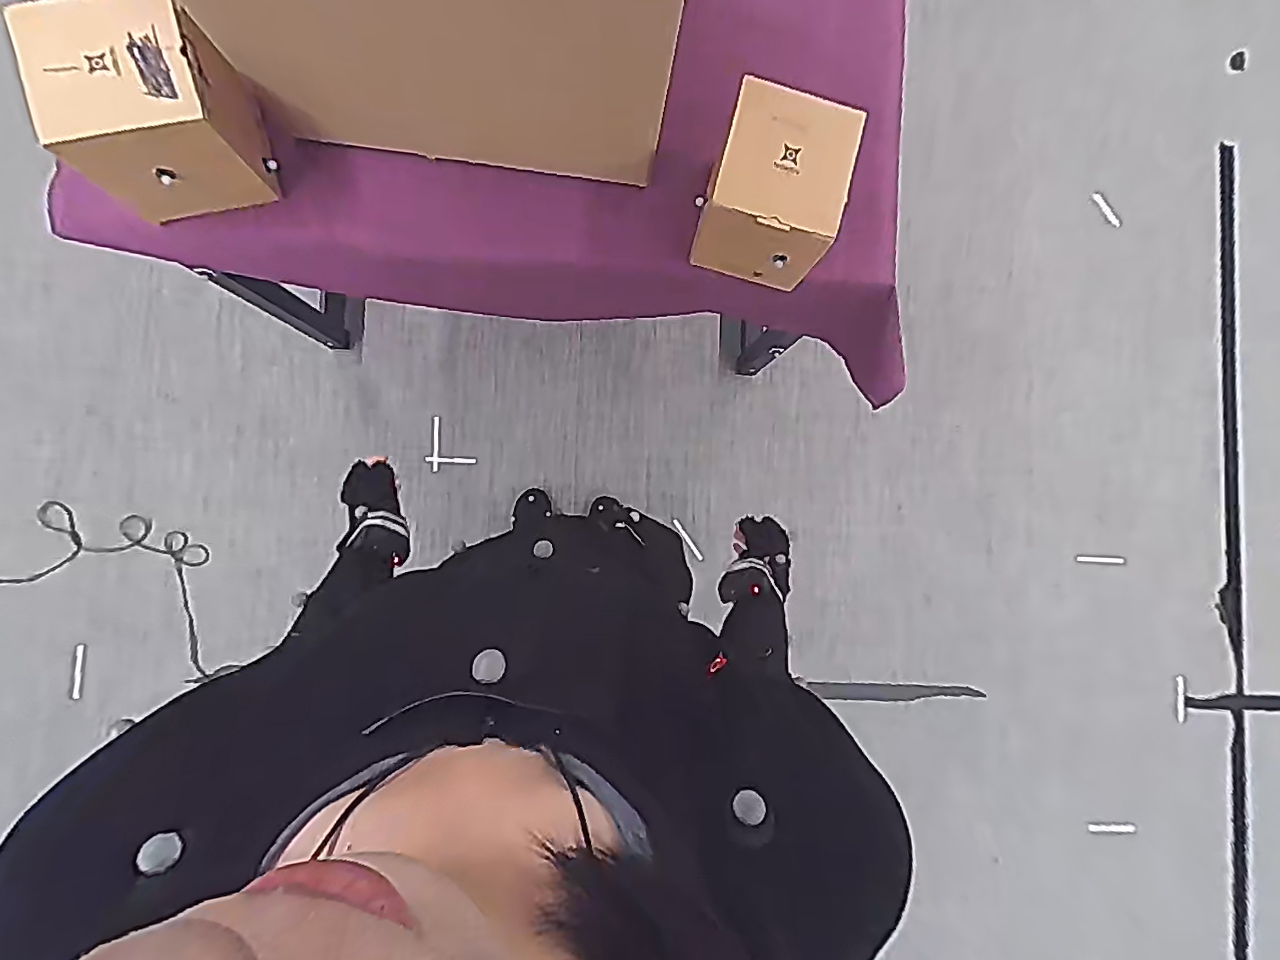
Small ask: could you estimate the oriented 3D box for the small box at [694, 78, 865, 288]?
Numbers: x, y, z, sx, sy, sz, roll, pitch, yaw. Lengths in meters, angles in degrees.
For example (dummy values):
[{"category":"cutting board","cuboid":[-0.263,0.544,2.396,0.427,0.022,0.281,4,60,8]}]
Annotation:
[{"category":"small box","cuboid":[0.182,-0.397,0.756,0.168,0.176,0.179,14,85,-5]}]
